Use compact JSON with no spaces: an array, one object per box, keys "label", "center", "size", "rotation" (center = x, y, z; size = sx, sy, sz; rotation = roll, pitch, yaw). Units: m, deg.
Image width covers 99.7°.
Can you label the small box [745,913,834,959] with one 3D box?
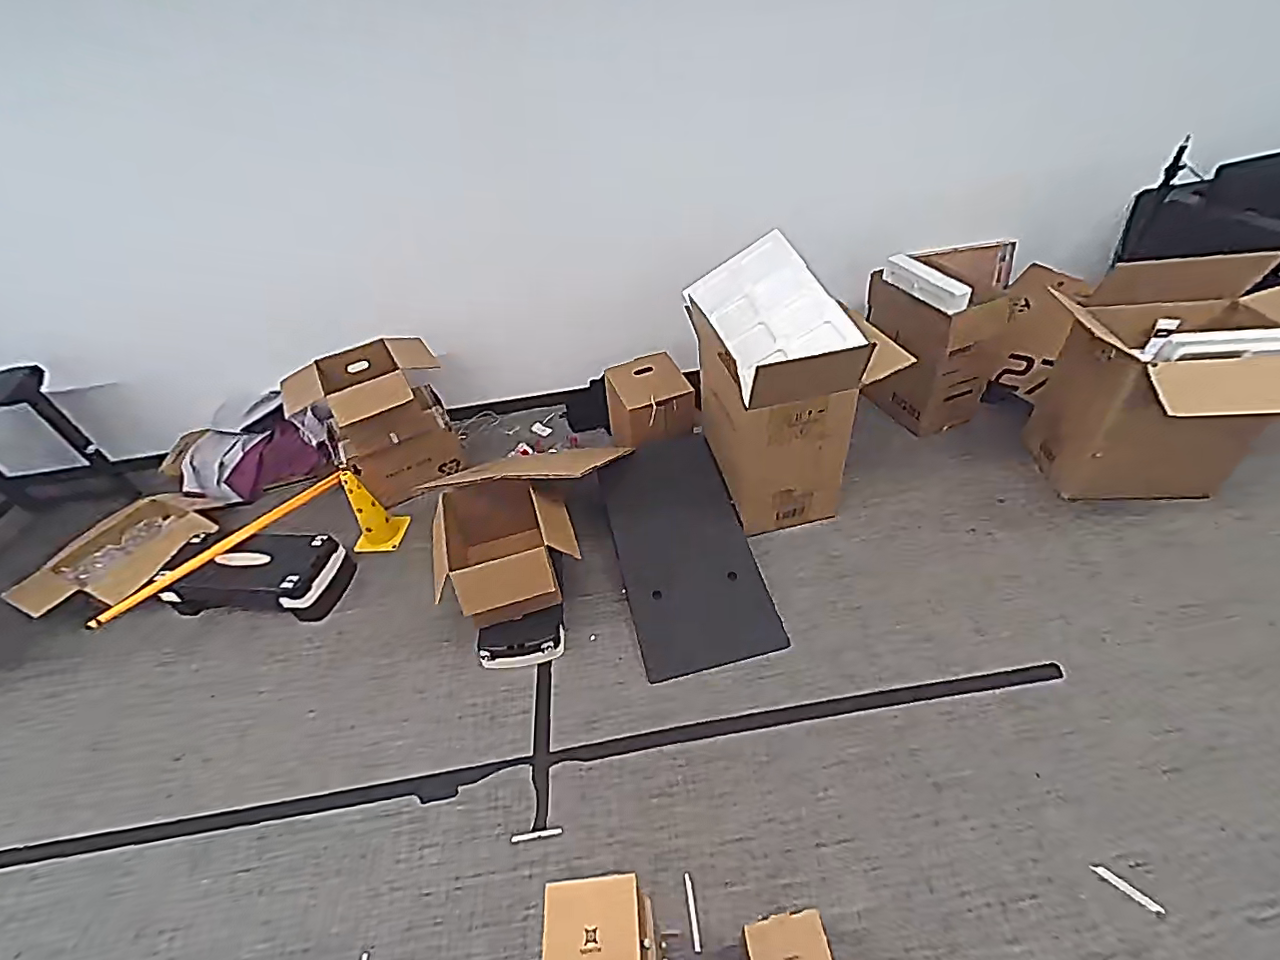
[{"label":"small box","center":[0.323,1.052,1.139],"size":[0.168,0.176,0.179],"rotation":[-11,42,-1]}]

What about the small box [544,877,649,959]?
[{"label":"small box","center":[-0.072,0.831,0.950],"size":[0.168,0.176,0.179],"rotation":[-7,42,0]}]

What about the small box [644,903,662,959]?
[{"label":"small box","center":[-0.046,0.956,1.052],"size":[0.179,0.176,0.168],"rotation":[-8,41,-2]}]
